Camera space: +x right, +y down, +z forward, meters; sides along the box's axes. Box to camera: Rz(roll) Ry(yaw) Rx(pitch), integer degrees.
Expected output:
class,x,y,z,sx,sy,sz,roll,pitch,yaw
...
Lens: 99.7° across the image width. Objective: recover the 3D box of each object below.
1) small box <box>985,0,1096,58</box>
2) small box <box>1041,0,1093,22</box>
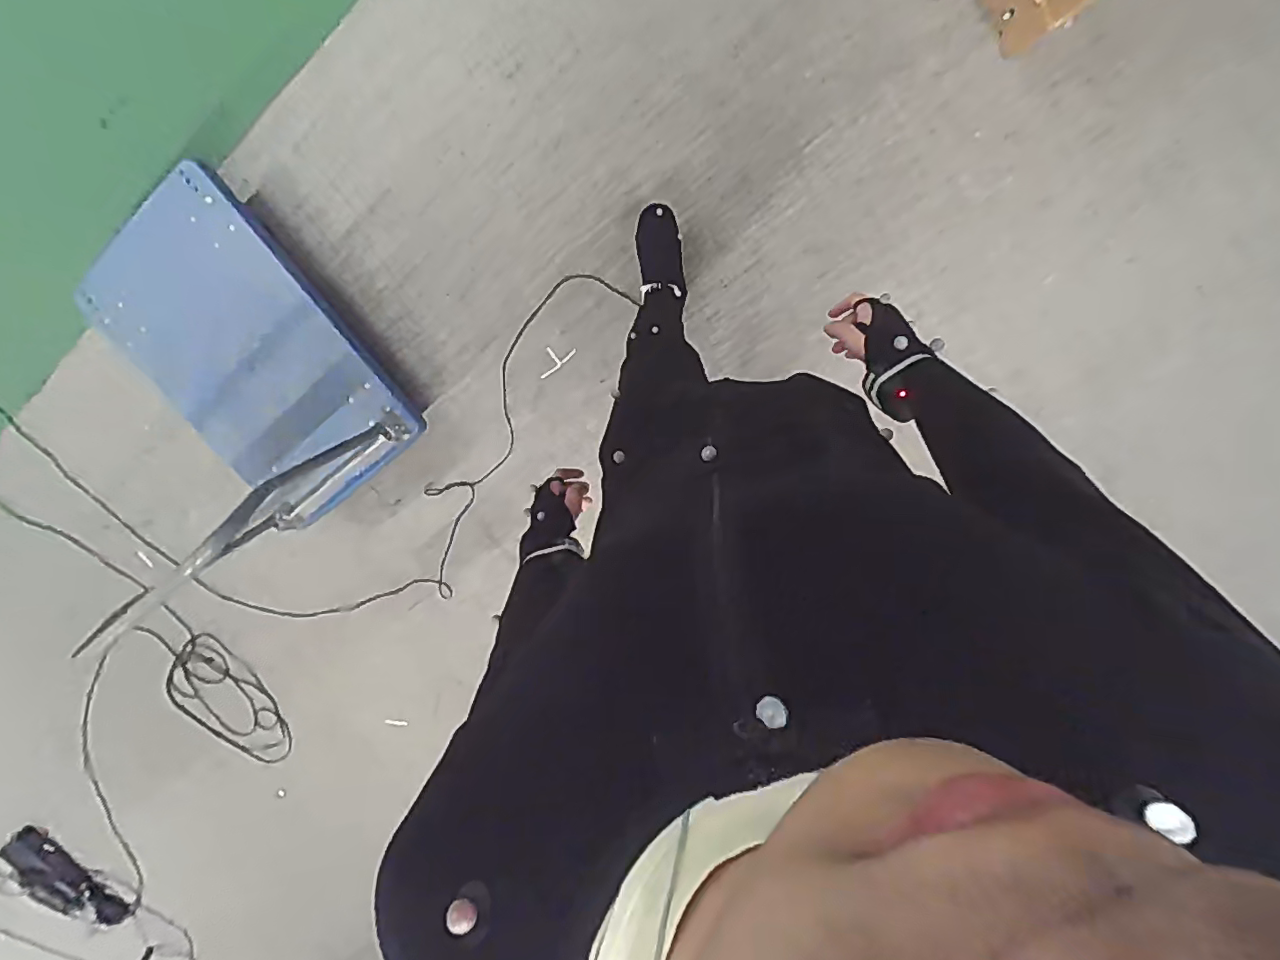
class,x,y,z,sx,sy,sz,roll,pitch,yaw
small box,0.865,-1.047,1.136,0.179,0.176,0.168,-32,103,16
small box,0.857,-1.000,0.978,0.179,0.176,0.168,-27,103,14
